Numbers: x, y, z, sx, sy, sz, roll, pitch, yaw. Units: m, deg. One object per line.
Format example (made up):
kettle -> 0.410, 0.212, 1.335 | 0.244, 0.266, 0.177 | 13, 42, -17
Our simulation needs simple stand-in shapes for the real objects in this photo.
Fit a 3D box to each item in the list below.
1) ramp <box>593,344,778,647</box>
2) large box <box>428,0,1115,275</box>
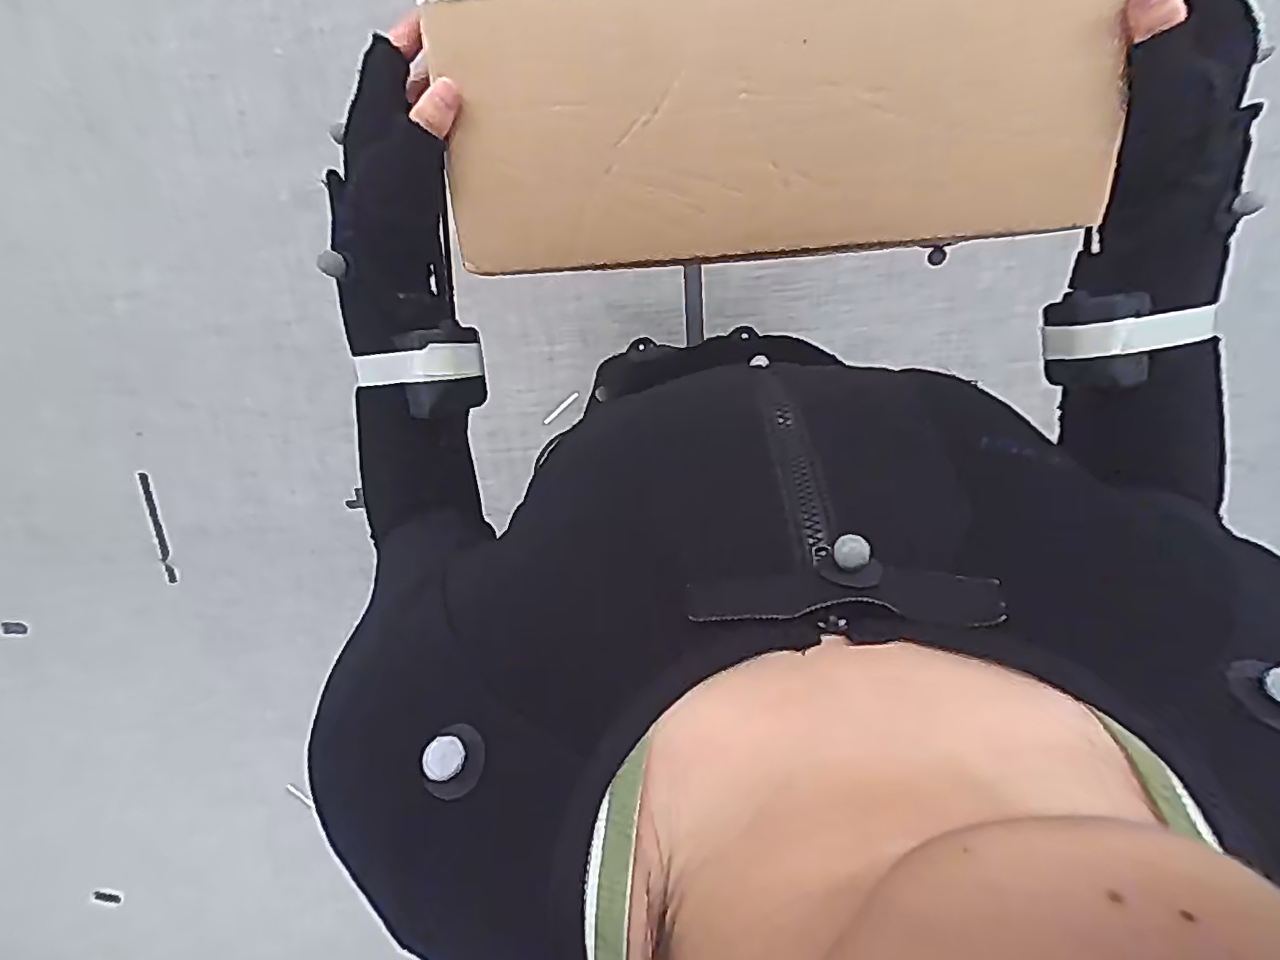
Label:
ramp -> 0.162, 0.109, 1.629 | 0.509, 0.206, 0.991 | -6, 106, 3
large box -> 0.077, -0.352, 0.442 | 0.408, 0.320, 0.320 | -3, 111, 2
